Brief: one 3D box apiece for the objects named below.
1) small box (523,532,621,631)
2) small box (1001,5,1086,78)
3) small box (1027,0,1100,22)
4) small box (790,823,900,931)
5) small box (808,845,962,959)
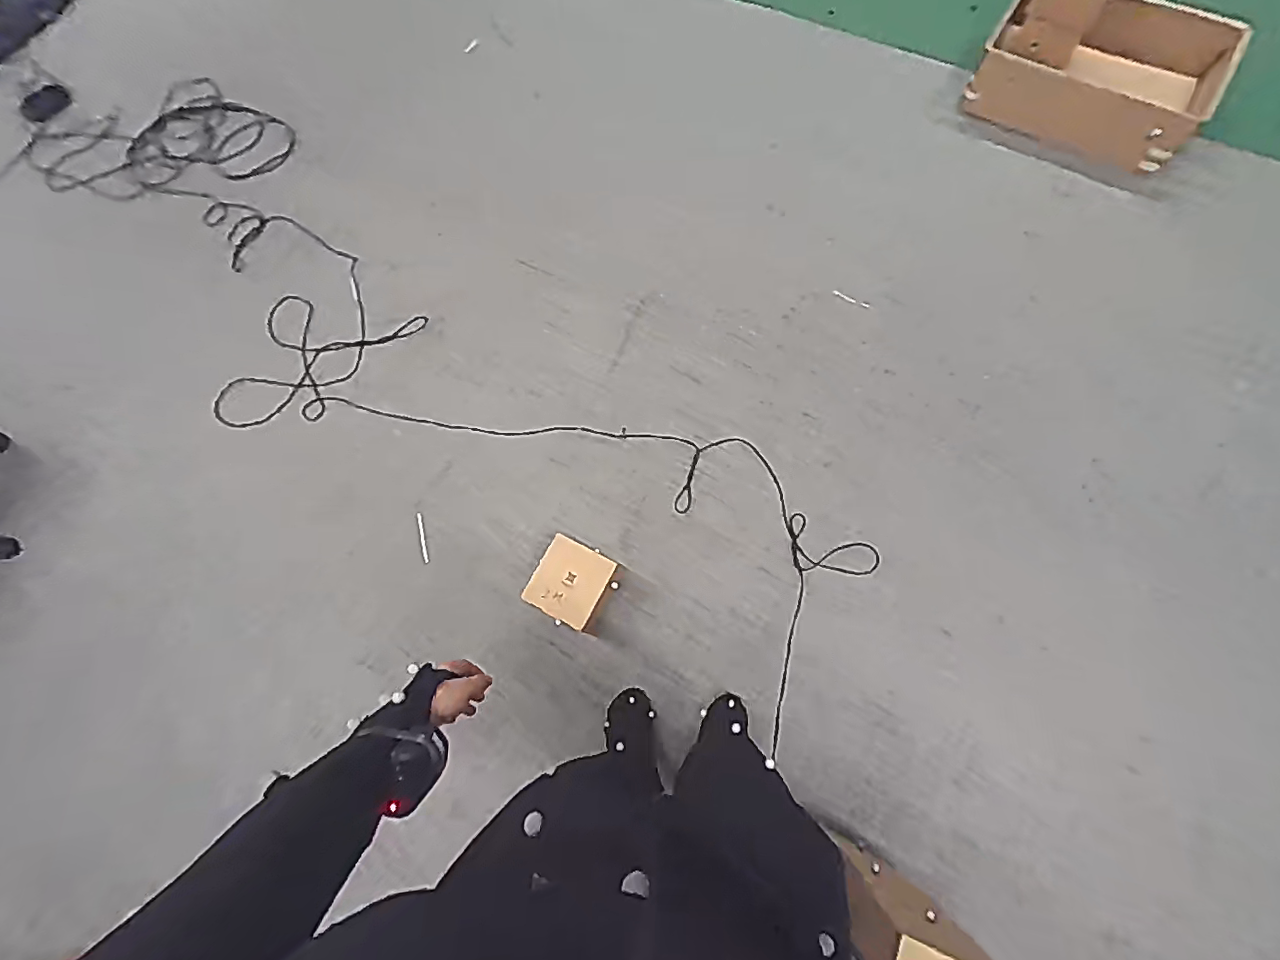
[{"bbox_3d":[-0.156,0.253,1.322,0.168,0.176,0.179,25,77,12],"label":"small box"},{"bbox_3d":[1.241,-1.373,1.639,0.168,0.176,0.179,30,79,12],"label":"small box"},{"bbox_3d":[1.217,-1.413,1.481,0.179,0.176,0.168,31,79,12],"label":"small box"},{"bbox_3d":[0.424,0.838,1.102,0.179,0.176,0.168,26,78,12],"label":"small box"},{"bbox_3d":[0.415,0.782,0.949,0.179,0.176,0.168,24,78,10],"label":"small box"}]
